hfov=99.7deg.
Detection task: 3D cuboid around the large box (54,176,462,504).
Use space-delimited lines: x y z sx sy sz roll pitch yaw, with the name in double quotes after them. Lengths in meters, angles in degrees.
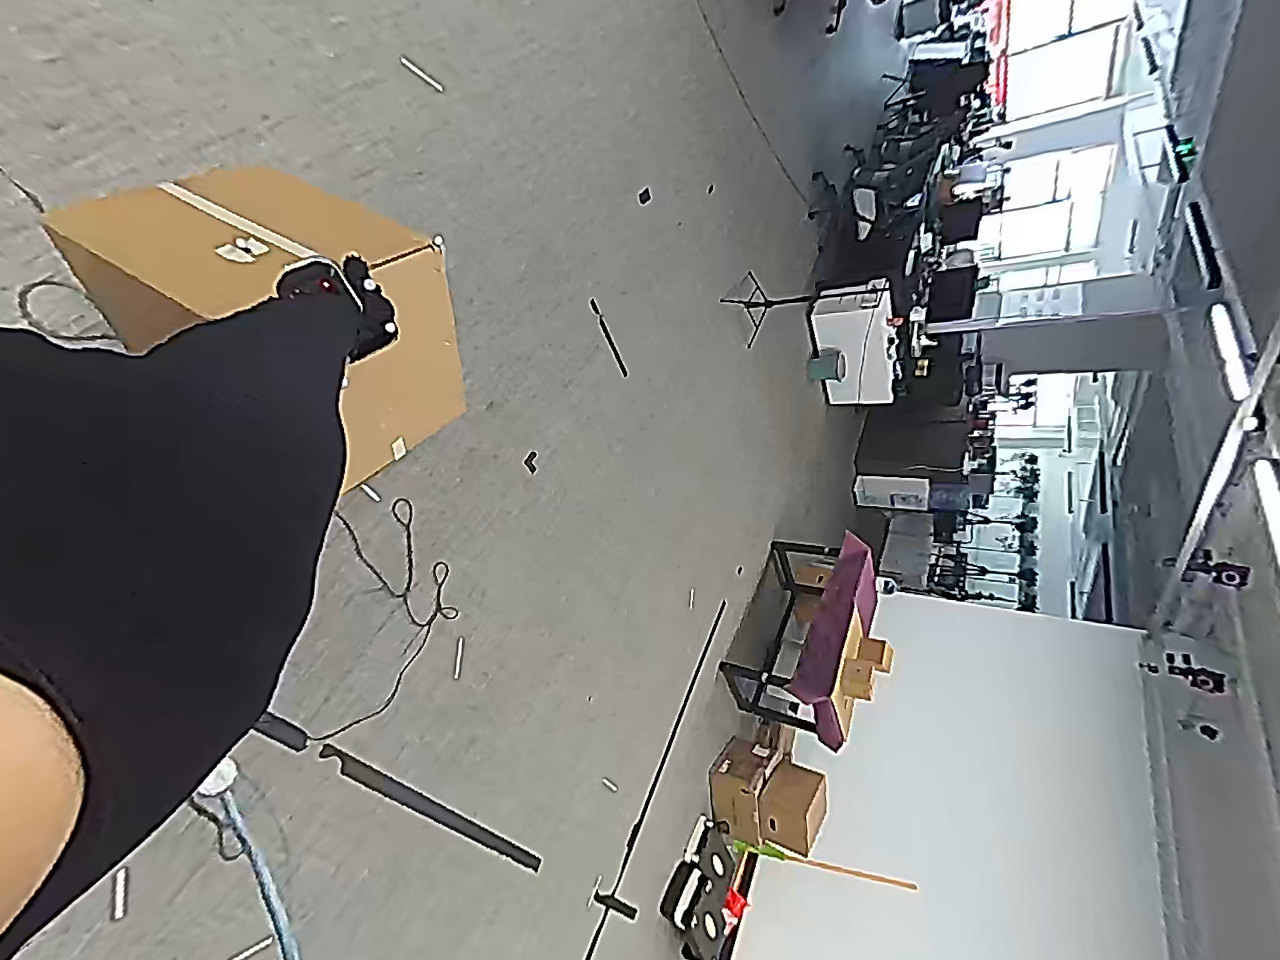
-0.554 -0.233 0.864 0.320 0.408 0.320 -48 160 -39 "large box"
